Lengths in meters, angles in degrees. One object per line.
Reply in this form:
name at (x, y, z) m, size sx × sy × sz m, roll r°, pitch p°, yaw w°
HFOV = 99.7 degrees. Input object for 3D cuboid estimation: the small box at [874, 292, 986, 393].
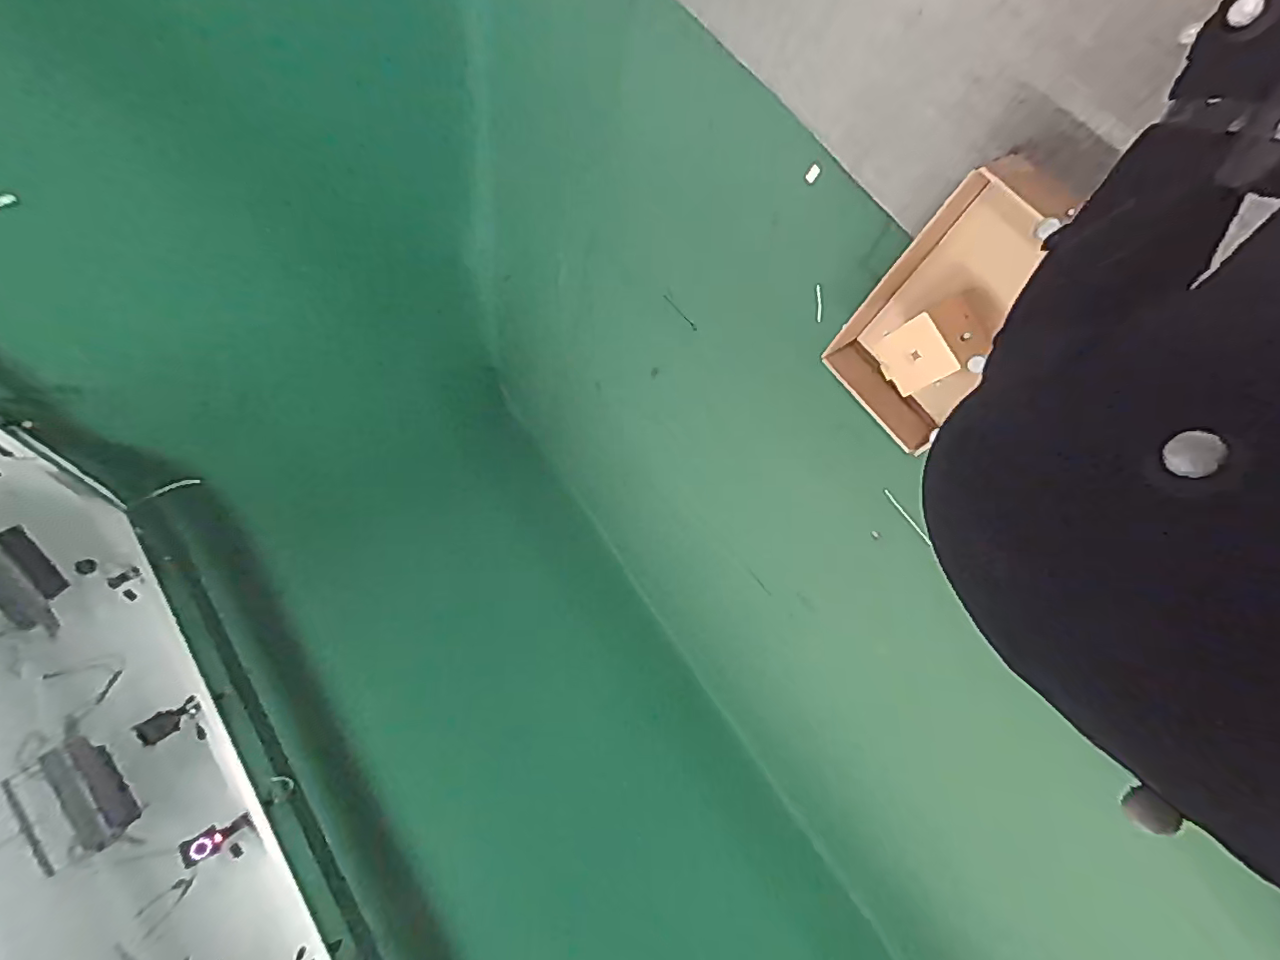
small box at (0.756, -0.358, 1.400) m, size 0.168 × 0.176 × 0.179 m, roll 60°, pitch 152°, yaw 3°
